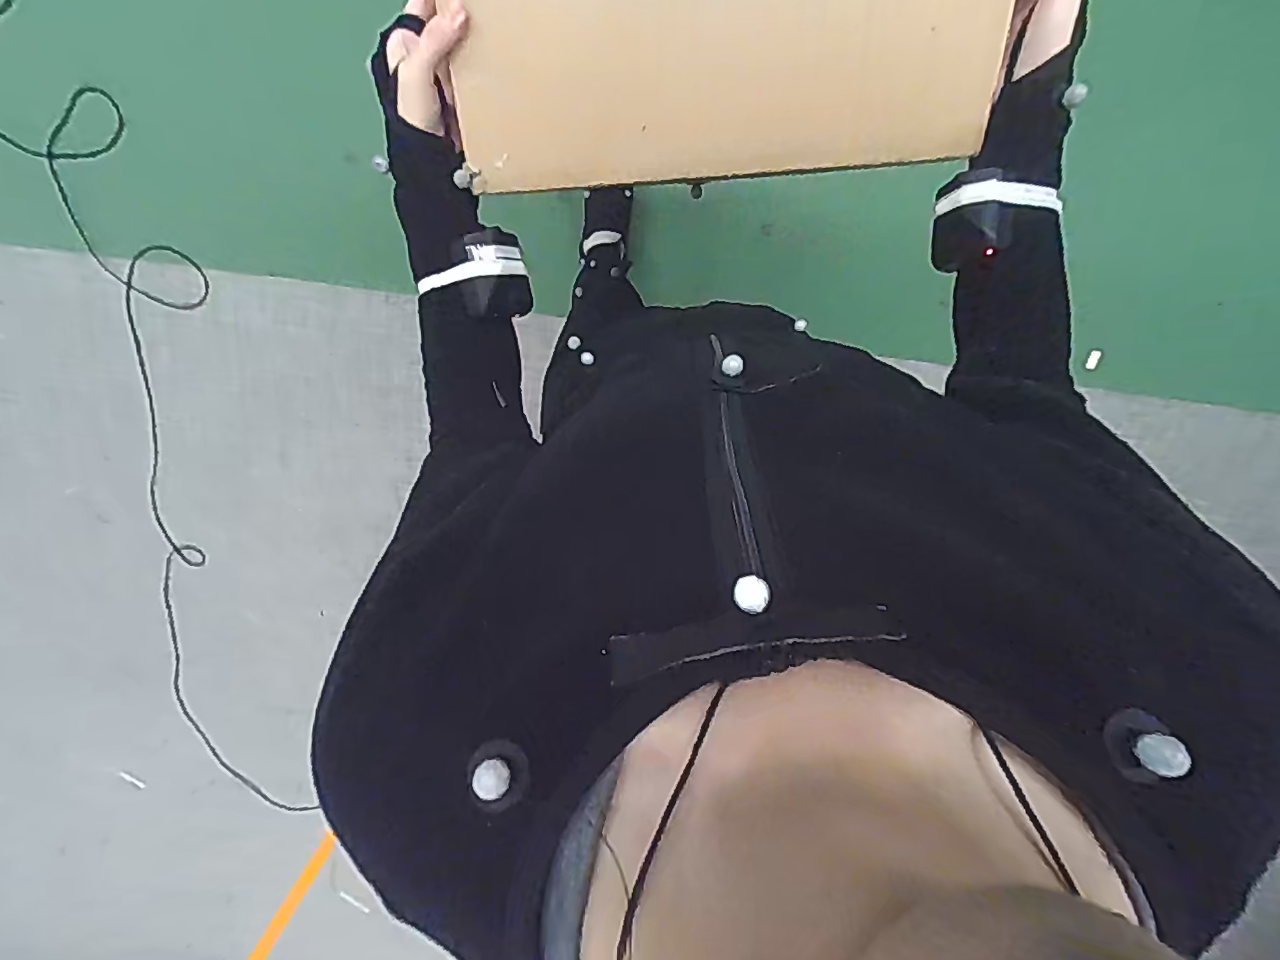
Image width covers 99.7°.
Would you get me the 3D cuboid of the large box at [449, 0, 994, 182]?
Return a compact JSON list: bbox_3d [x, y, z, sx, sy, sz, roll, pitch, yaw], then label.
[{"bbox_3d":[0.053,-0.466,0.492,0.408,0.320,0.320,-5,118,-1],"label":"large box"}]
